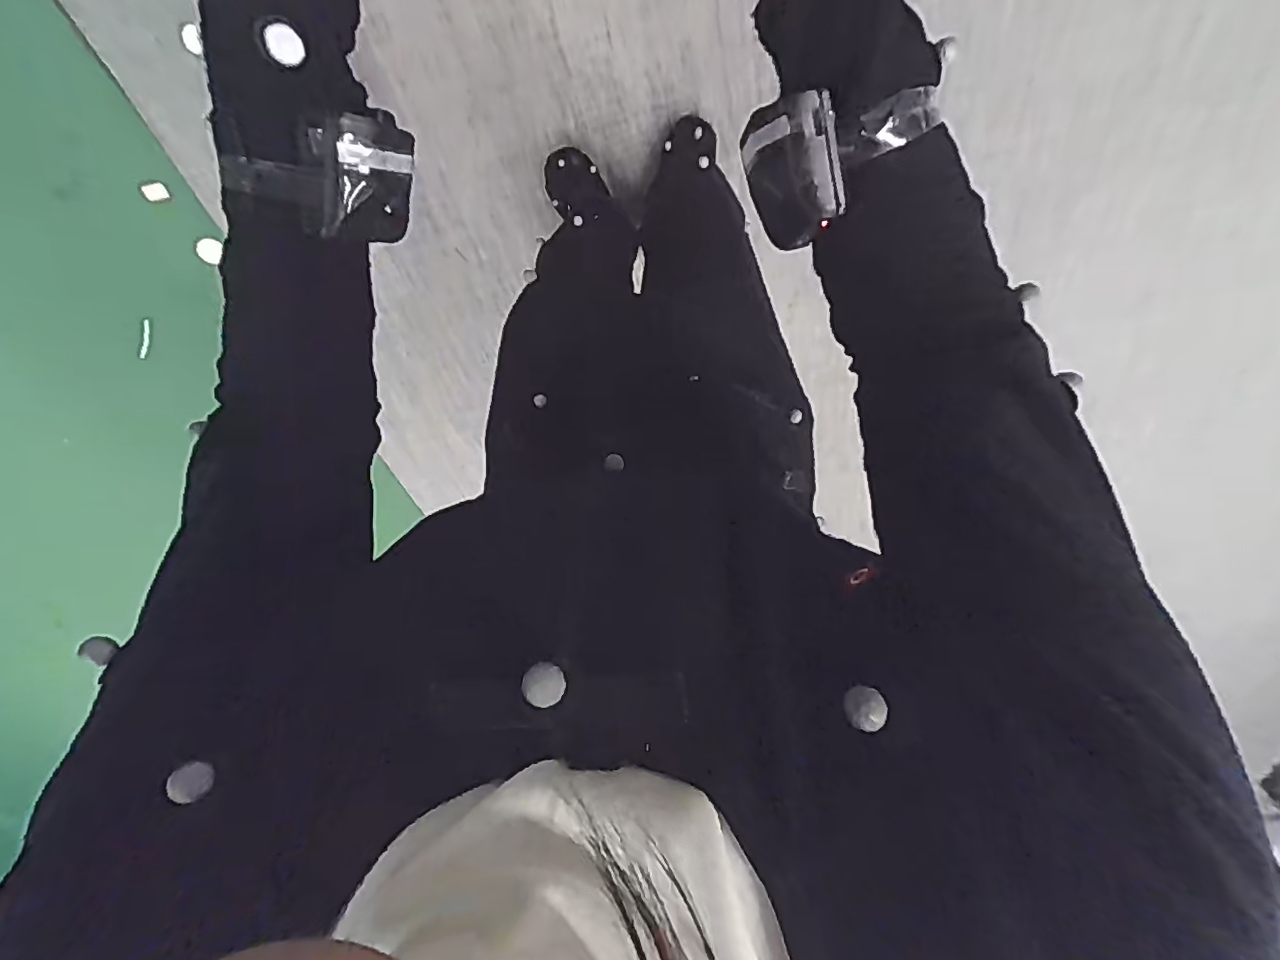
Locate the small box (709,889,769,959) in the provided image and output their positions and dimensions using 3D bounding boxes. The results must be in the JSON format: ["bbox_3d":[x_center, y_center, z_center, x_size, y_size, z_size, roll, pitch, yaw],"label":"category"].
[{"bbox_3d":[0.338,1.542,1.872,0.179,0.176,0.168,-12,130,9],"label":"small box"}]
